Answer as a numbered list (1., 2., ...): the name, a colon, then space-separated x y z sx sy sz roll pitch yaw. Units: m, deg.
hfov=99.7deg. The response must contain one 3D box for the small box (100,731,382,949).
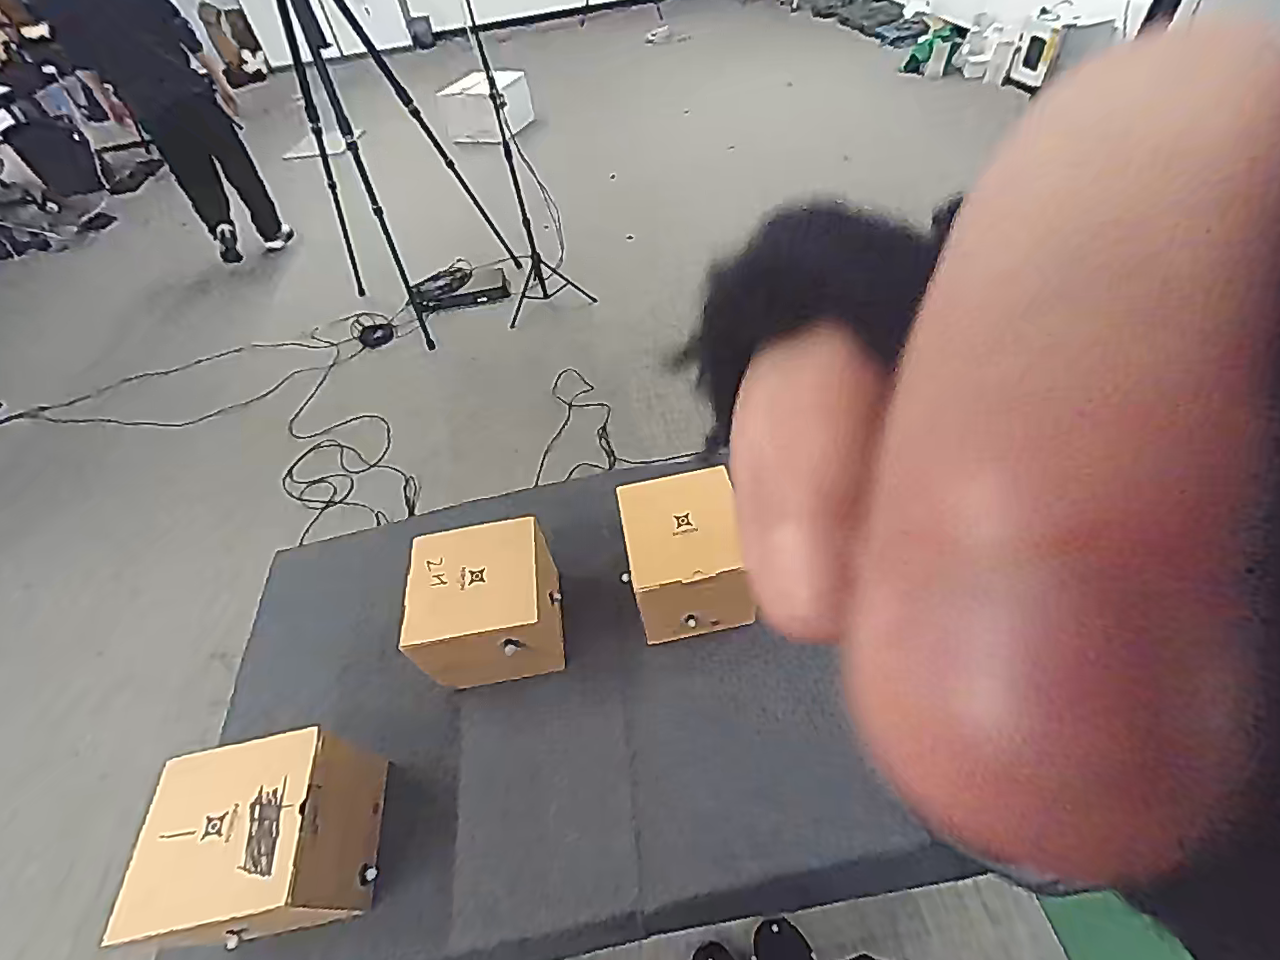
1. small box: -0.421 0.407 0.614 0.179 0.176 0.168 -11 49 -2

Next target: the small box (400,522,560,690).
1. small box: -0.213 0.184 0.775 0.179 0.176 0.168 -9 50 -1

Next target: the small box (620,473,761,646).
1. small box: 0.068 0.119 0.800 0.168 0.176 0.179 -11 50 -2
